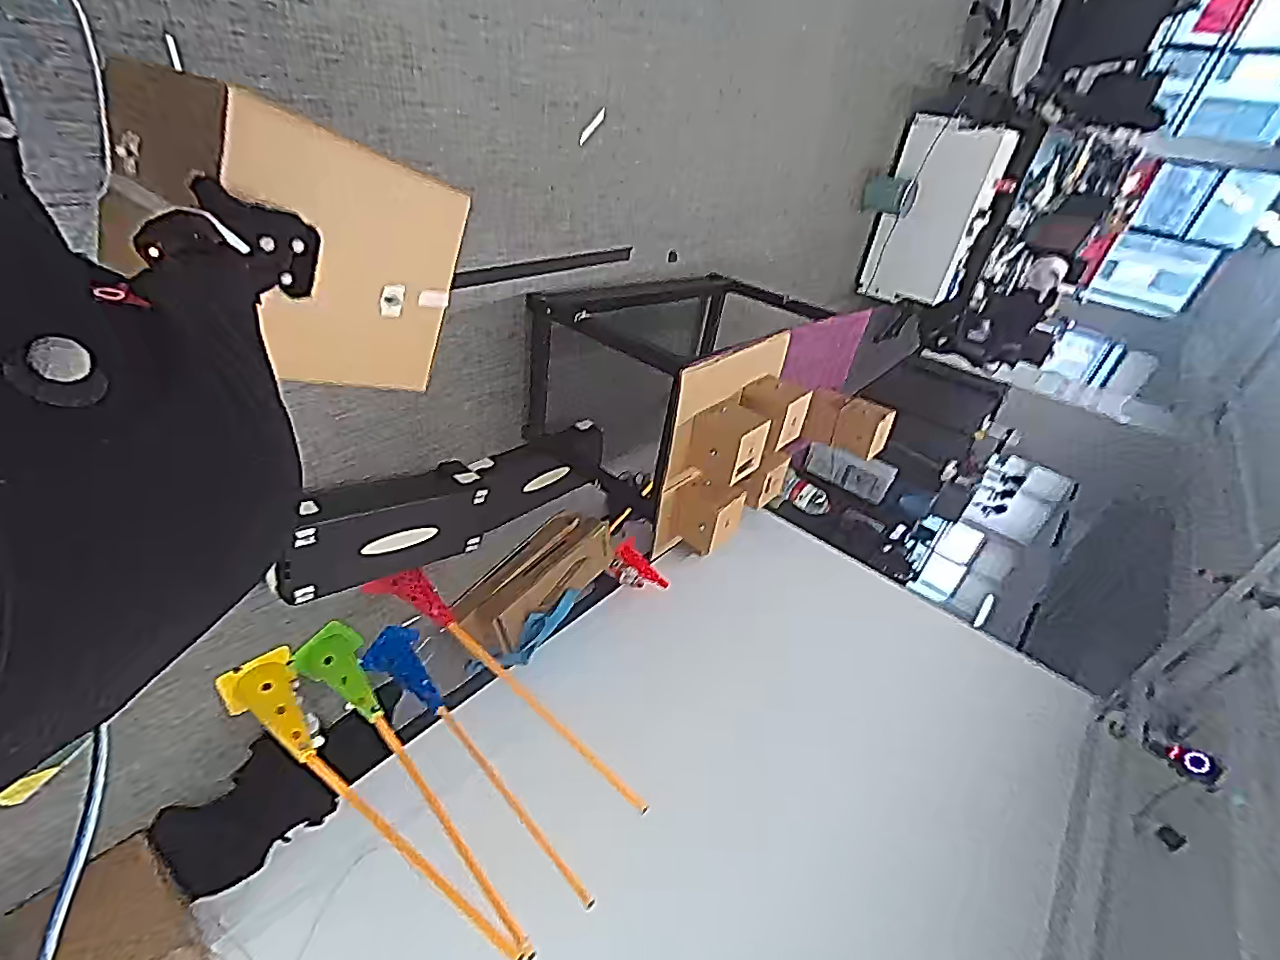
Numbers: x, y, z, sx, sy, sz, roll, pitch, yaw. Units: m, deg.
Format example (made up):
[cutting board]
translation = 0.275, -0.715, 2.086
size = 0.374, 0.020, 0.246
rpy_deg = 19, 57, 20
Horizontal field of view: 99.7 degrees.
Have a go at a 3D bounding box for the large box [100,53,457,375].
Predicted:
[large box]
translation = -0.543, -0.376, 0.816
size = 0.320, 0.408, 0.320
rpy_deg = -8, 124, -55
